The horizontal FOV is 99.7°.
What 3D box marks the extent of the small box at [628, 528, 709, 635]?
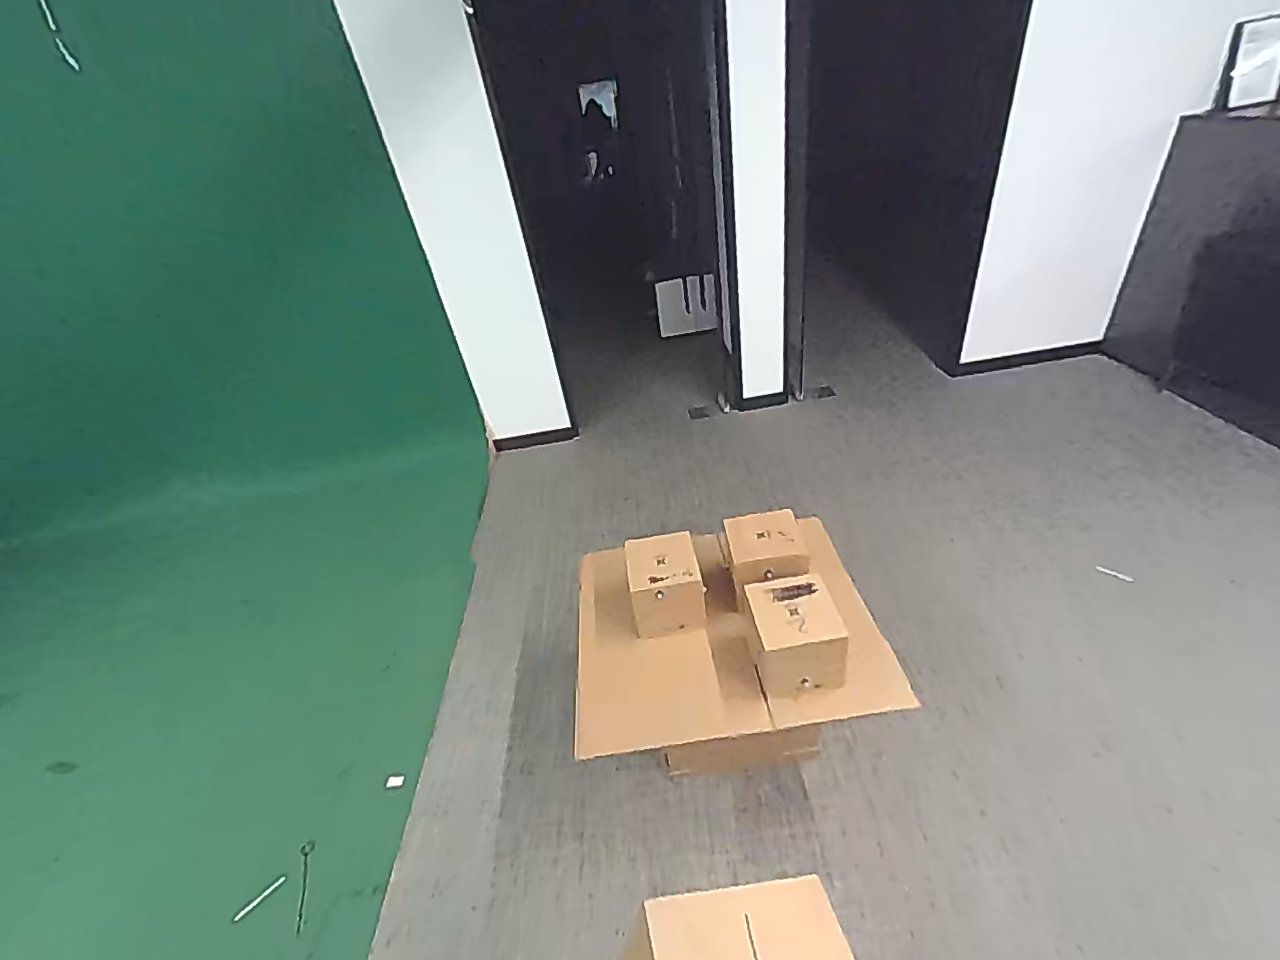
[{"bbox_3d":[0.067,0.246,1.320,0.168,0.176,0.179,-12,34,2],"label":"small box"}]
